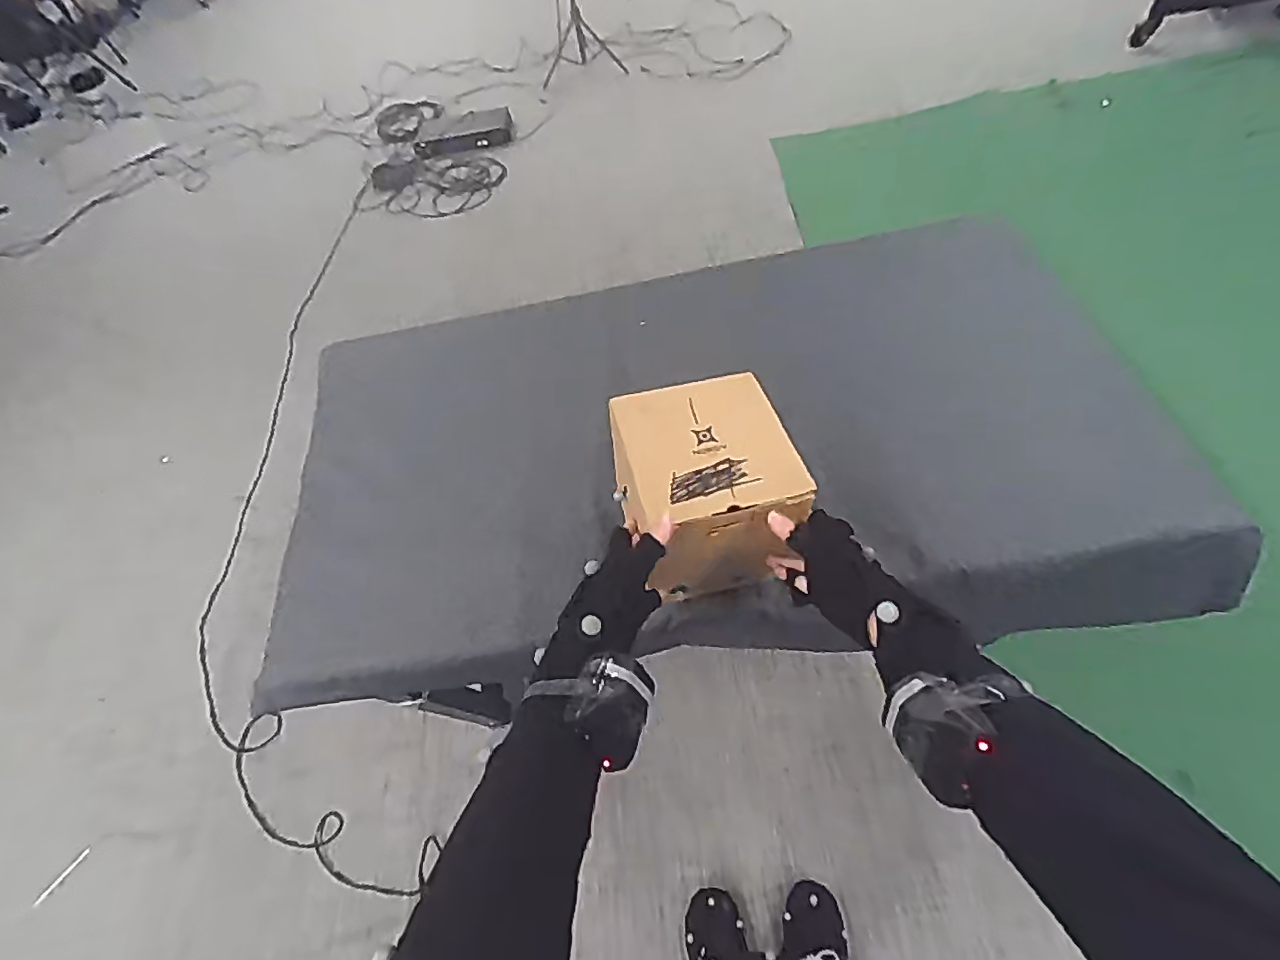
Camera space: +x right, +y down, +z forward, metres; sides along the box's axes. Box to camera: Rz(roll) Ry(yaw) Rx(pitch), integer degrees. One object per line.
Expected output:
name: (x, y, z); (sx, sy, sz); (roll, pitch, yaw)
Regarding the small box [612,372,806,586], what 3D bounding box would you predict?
small box: (0.070, 0.008, 0.626); (0.168, 0.176, 0.179); (-12, 54, -6)
